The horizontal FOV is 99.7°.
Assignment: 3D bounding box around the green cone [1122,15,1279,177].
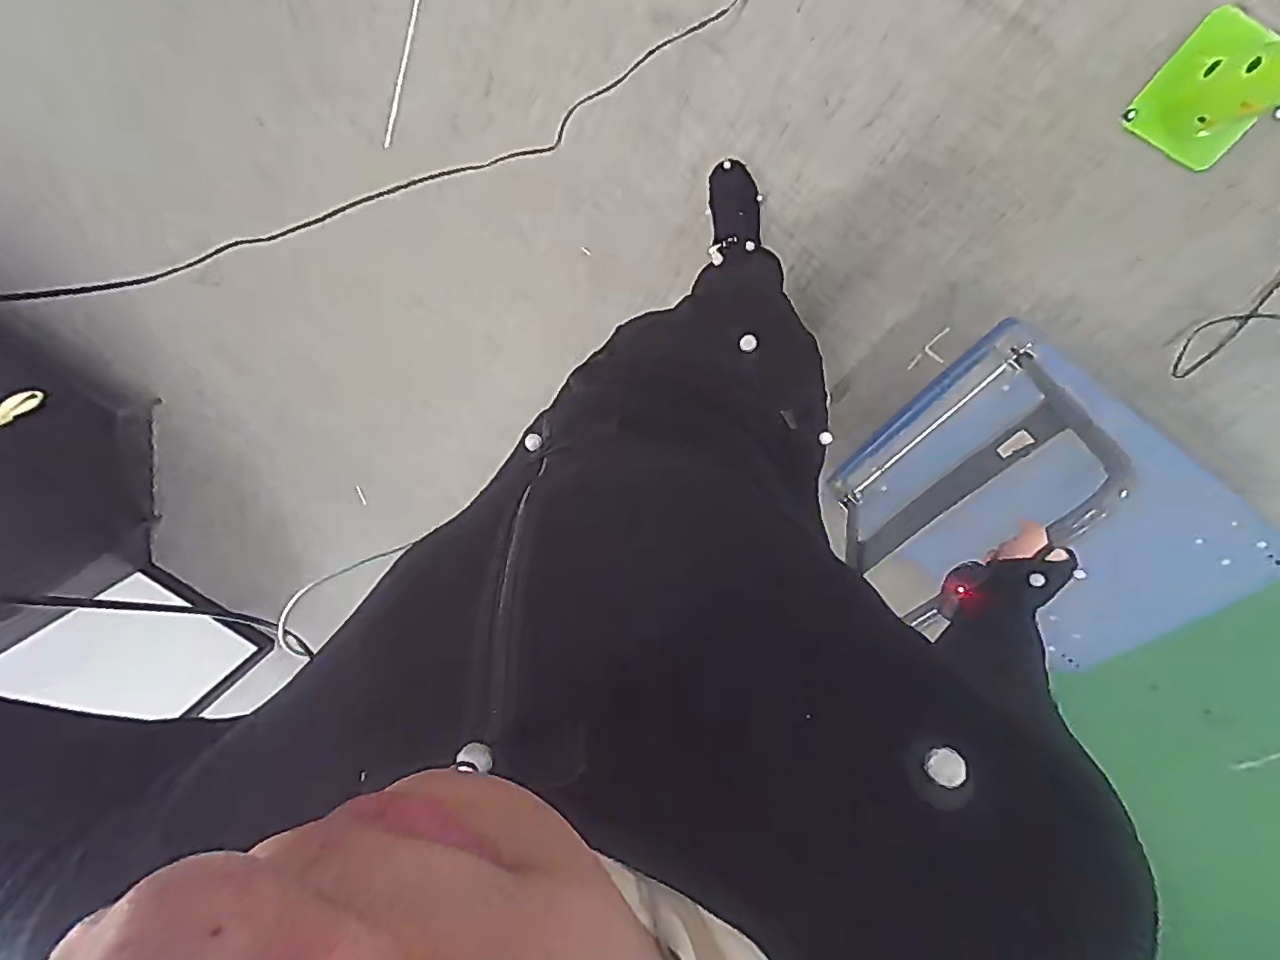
[{"bbox_3d":[1.005,-0.623,0.854,0.200,0.368,0.202,31,122,-1],"label":"green cone"}]
